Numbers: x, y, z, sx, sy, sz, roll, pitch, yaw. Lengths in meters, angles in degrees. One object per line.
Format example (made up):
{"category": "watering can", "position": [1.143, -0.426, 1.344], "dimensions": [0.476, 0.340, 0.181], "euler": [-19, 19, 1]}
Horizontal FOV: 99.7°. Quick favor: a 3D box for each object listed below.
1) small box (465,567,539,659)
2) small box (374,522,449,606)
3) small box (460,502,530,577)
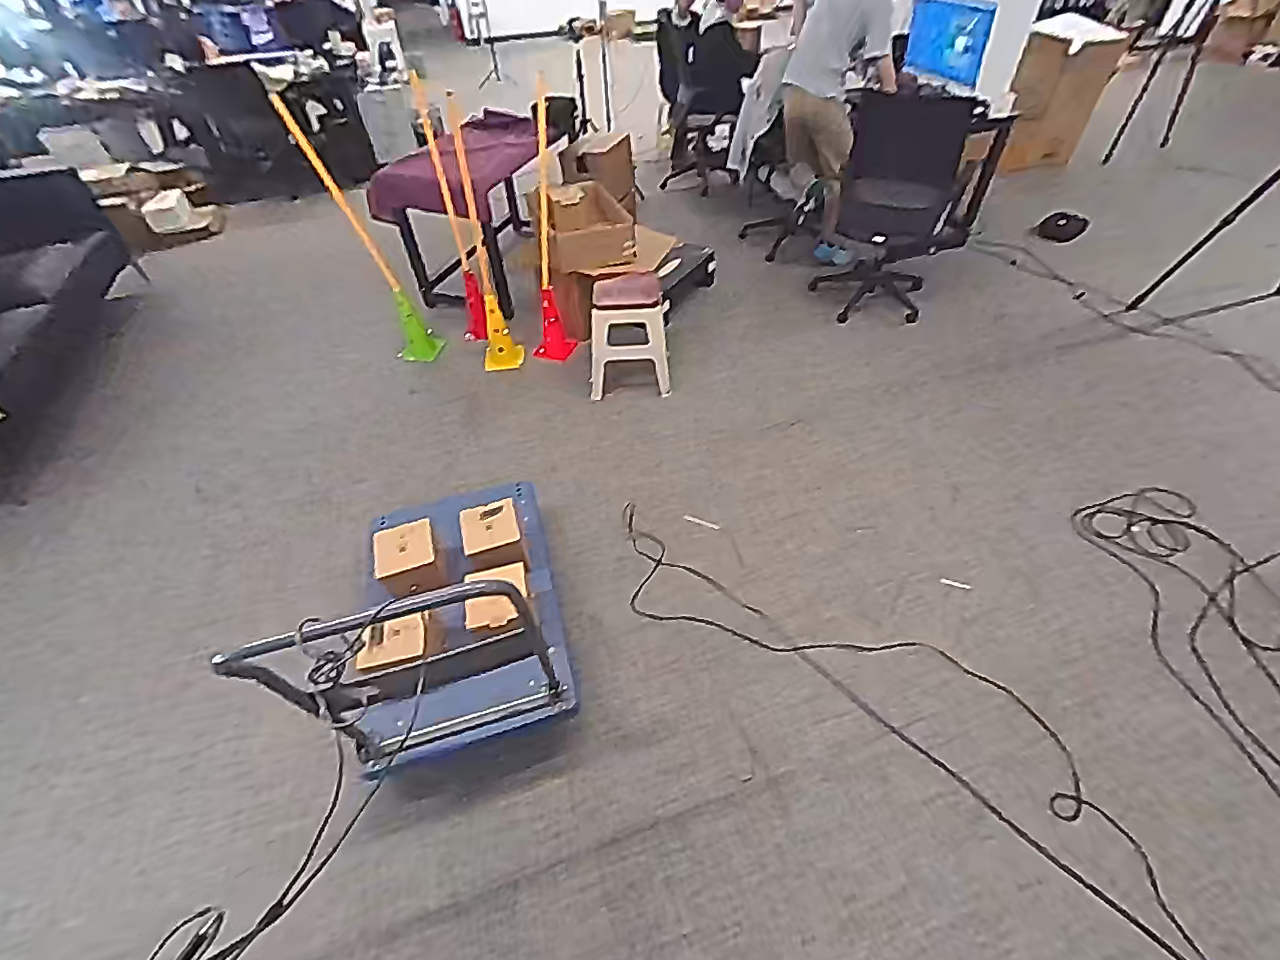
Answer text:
{"category": "small box", "position": [-0.392, 0.379, 1.538], "dimensions": [0.168, 0.176, 0.179], "euler": [-13, 49, -7]}
{"category": "small box", "position": [-0.700, 0.265, 1.662], "dimensions": [0.168, 0.176, 0.179], "euler": [-16, 49, -11]}
{"category": "small box", "position": [-0.455, 0.202, 1.700], "dimensions": [0.168, 0.176, 0.179], "euler": [-16, 49, -9]}
